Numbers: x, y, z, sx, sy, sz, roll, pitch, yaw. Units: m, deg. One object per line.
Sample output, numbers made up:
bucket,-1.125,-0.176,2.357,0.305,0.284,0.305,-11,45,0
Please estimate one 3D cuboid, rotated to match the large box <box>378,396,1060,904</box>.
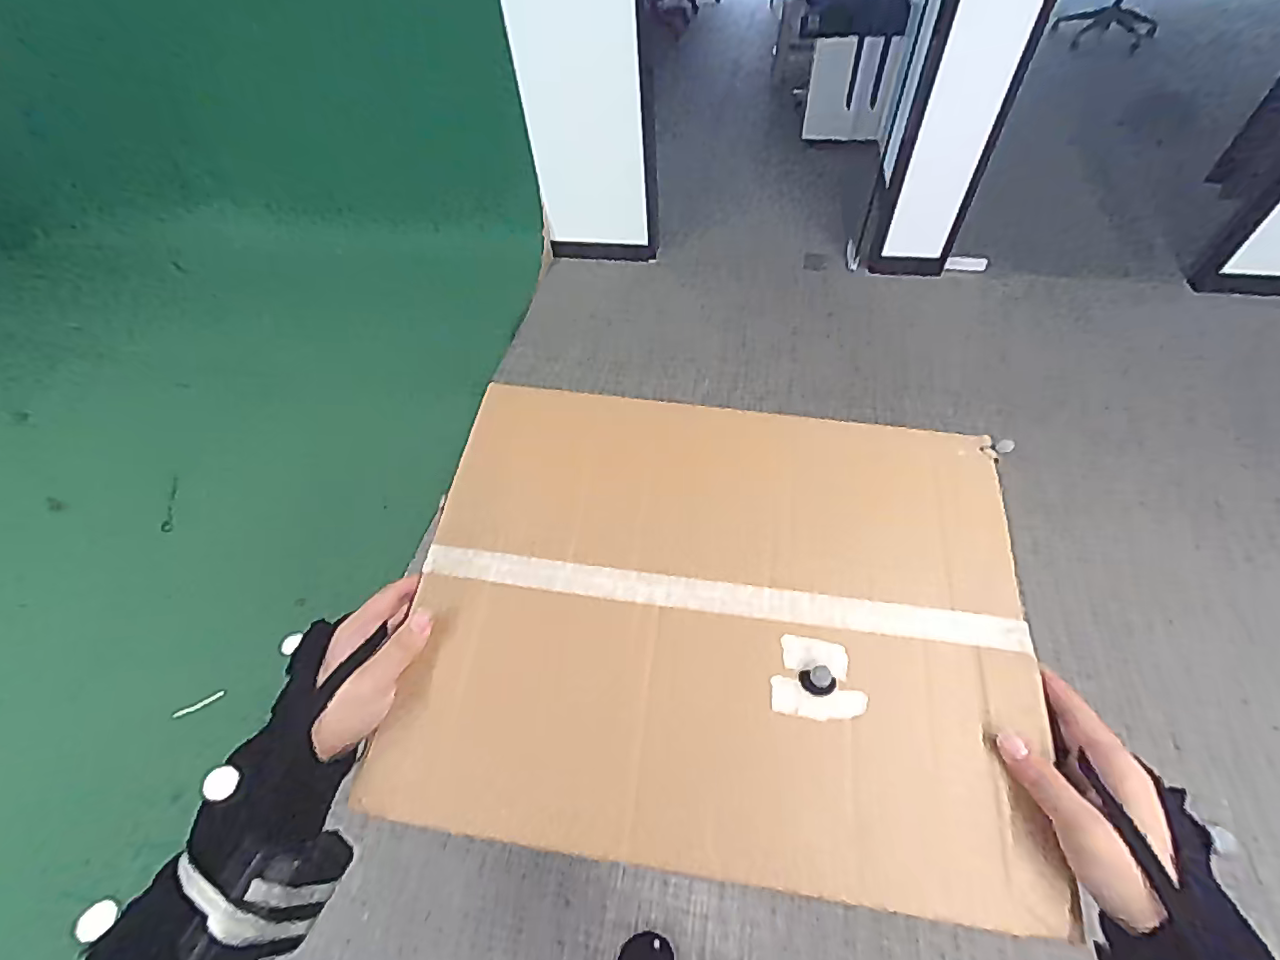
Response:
large box,0.055,0.151,0.510,0.408,0.320,0.320,7,63,4
